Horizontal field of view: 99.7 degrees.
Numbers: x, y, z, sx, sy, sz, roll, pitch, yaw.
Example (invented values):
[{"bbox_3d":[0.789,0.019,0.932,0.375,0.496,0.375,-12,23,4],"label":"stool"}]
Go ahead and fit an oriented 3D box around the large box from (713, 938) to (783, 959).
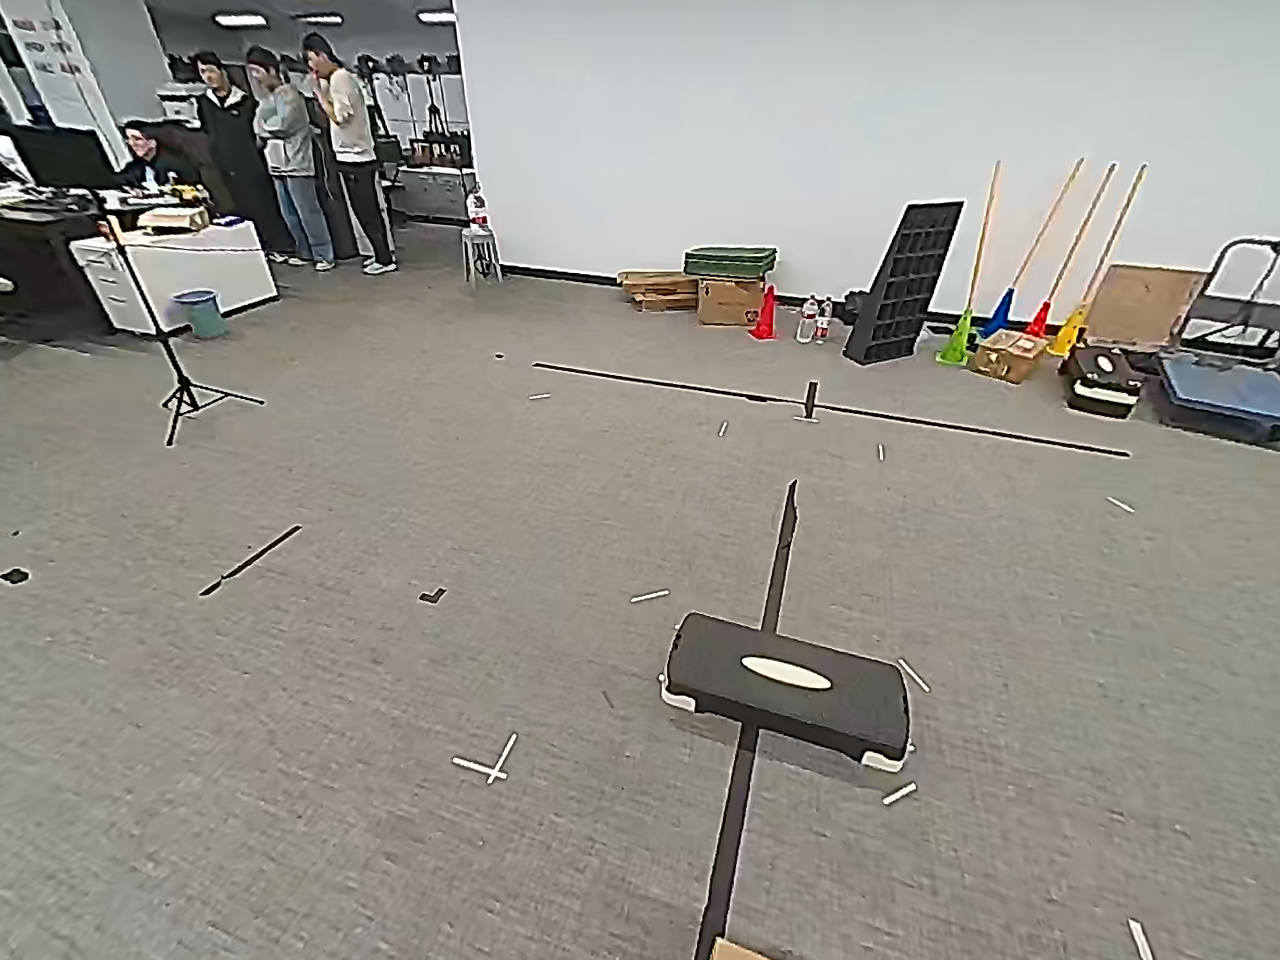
[{"bbox_3d":[0.264,0.979,0.787,0.408,0.320,0.320,13,37,15],"label":"large box"}]
